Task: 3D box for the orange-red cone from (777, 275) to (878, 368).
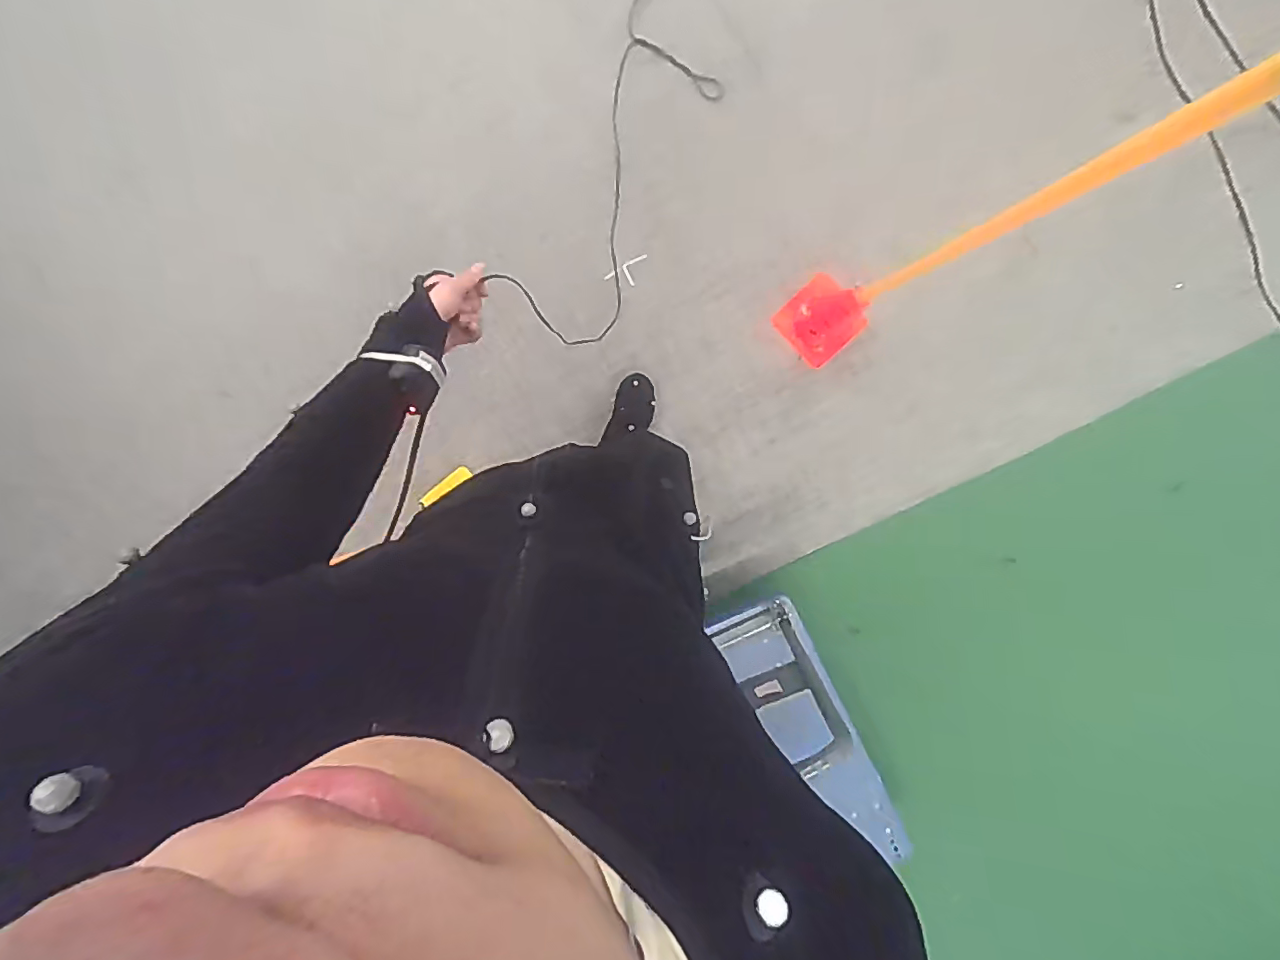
[{"bbox_3d":[0.502,-0.419,1.338,0.199,0.360,0.198,-41,95,6],"label":"orange-red cone"}]
